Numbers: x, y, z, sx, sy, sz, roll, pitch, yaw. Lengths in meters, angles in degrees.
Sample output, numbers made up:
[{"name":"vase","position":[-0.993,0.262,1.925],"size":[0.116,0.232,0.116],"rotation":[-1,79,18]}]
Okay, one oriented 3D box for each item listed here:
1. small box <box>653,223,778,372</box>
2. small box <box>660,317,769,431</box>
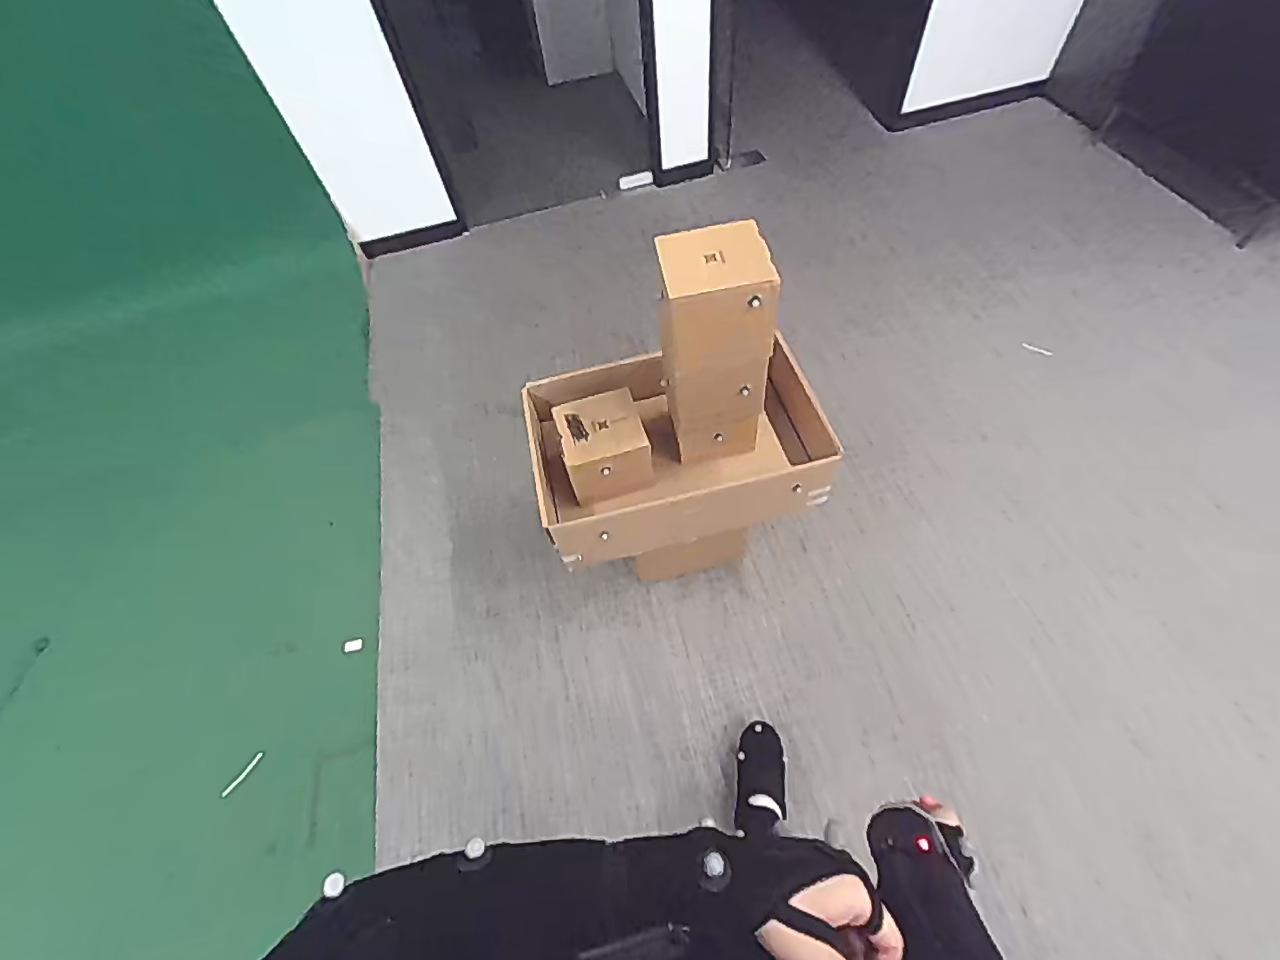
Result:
[{"name":"small box","position":[0.127,-0.307,0.933],"size":[0.179,0.176,0.168],"rotation":[-10,57,2]},{"name":"small box","position":[0.143,-0.220,1.069],"size":[0.179,0.176,0.168],"rotation":[-12,57,2]}]
